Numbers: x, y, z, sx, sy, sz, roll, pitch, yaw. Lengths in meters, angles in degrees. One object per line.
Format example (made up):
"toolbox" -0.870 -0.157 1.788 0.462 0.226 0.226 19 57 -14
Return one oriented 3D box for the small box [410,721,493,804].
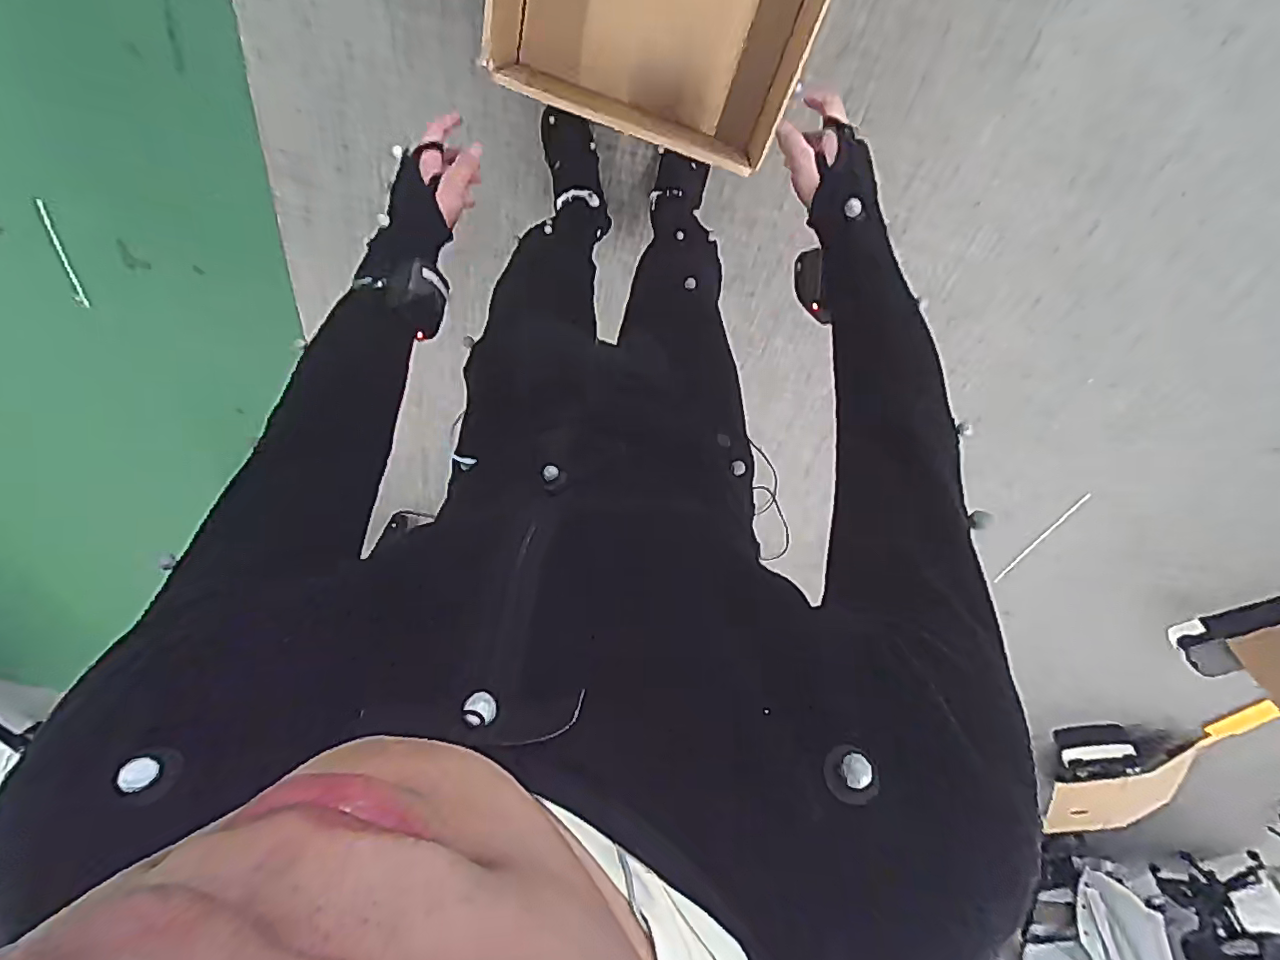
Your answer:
"small box" -0.559 0.844 1.622 0.179 0.176 0.168 8 134 0
